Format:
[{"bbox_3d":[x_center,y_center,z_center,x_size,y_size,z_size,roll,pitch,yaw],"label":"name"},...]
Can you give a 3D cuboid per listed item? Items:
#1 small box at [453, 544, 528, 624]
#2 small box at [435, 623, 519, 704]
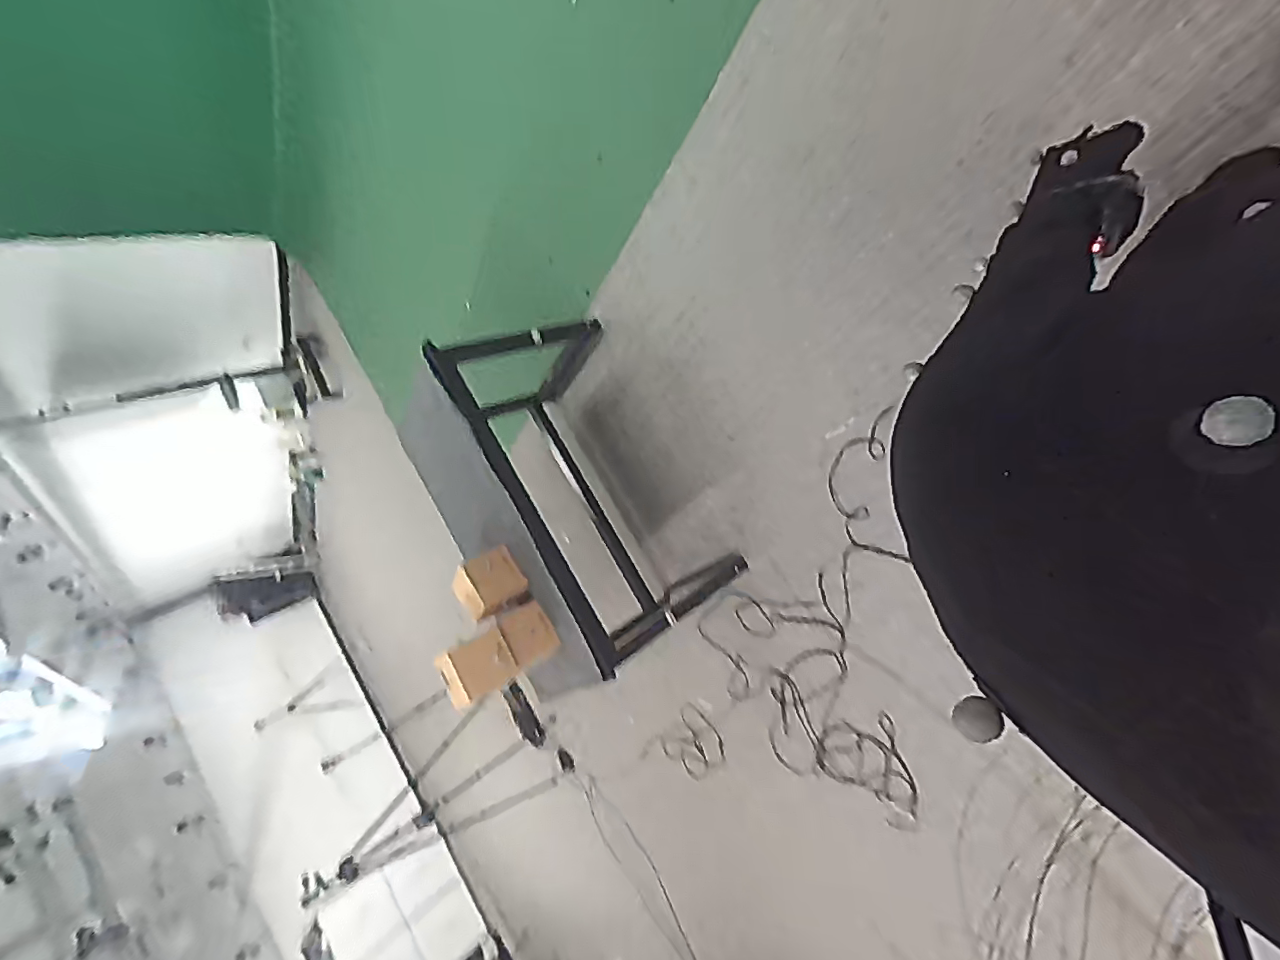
[{"bbox_3d":[-0.494,0.340,1.794,0.168,0.176,0.179,53,139,17],"label":"small box"},{"bbox_3d":[-0.492,0.556,1.639,0.179,0.176,0.168,-37,80,49],"label":"small box"}]
